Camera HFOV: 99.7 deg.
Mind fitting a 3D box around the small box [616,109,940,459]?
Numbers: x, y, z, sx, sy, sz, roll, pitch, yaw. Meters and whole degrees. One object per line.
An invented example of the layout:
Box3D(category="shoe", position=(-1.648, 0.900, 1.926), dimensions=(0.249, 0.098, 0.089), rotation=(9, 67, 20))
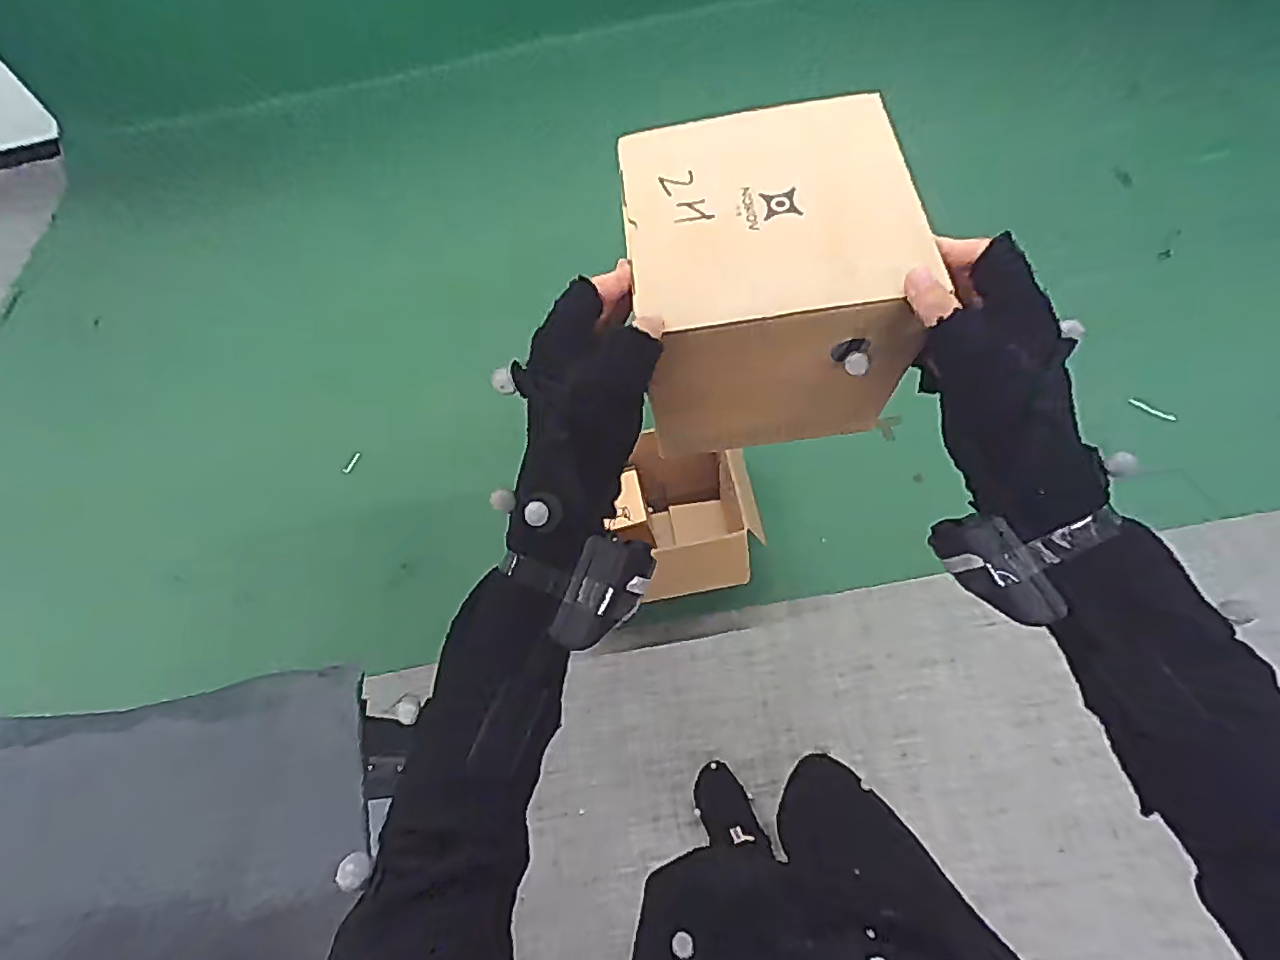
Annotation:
Box3D(category="small box", position=(0.084, -0.130, 0.407), dimensions=(0.179, 0.176, 0.168), rotation=(-8, 66, 6))
